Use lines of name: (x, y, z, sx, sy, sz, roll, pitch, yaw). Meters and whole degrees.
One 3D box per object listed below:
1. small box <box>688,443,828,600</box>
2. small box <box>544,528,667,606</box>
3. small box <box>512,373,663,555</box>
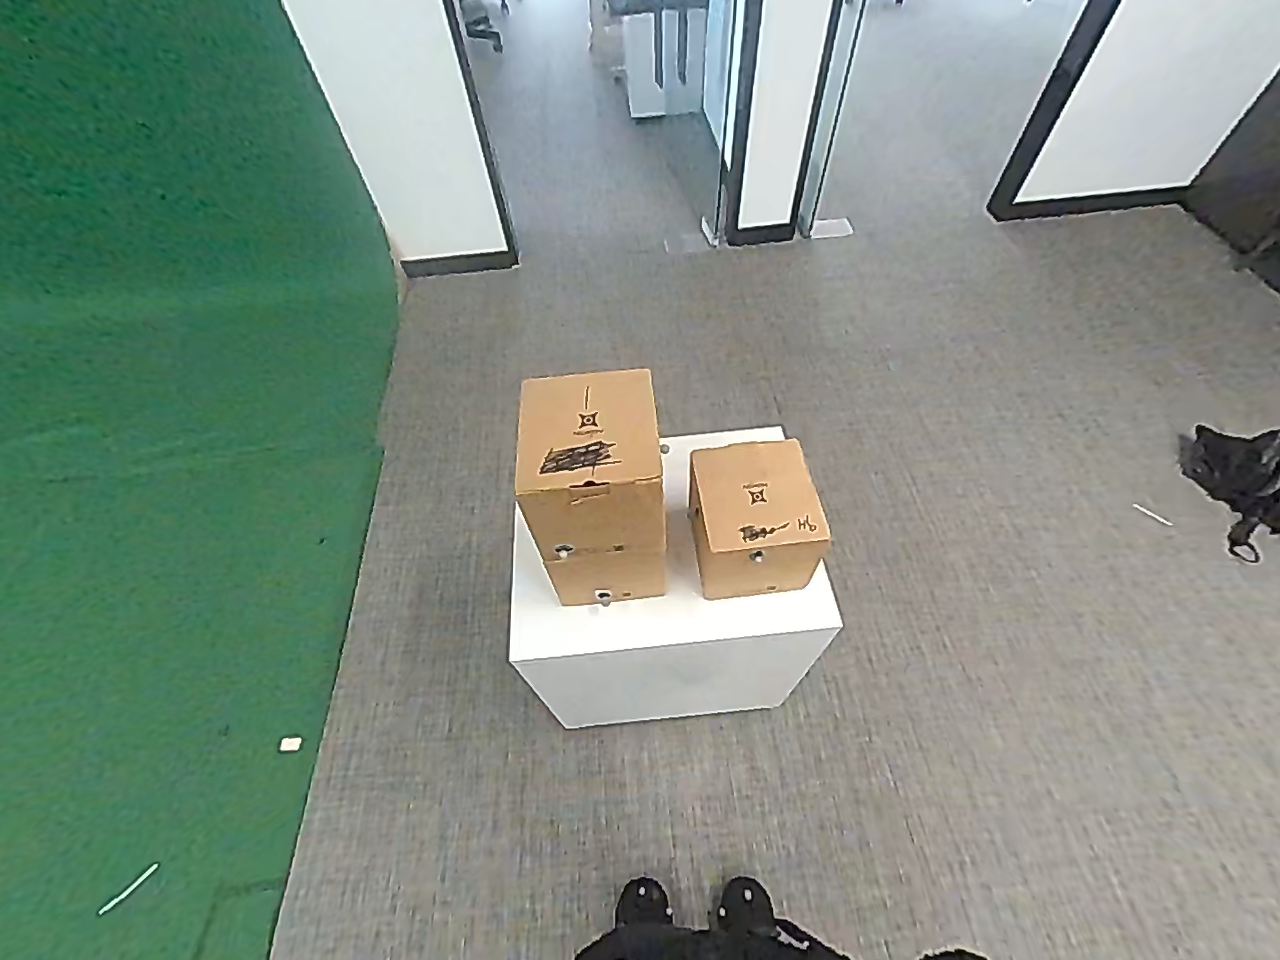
small box: (0.167, 0.066, 0.834, 0.168, 0.176, 0.179, -6, 55, -1)
small box: (-0.053, 0.073, 0.826, 0.168, 0.176, 0.179, -8, 57, -2)
small box: (-0.060, -0.012, 0.705, 0.168, 0.176, 0.179, -5, 54, 0)
